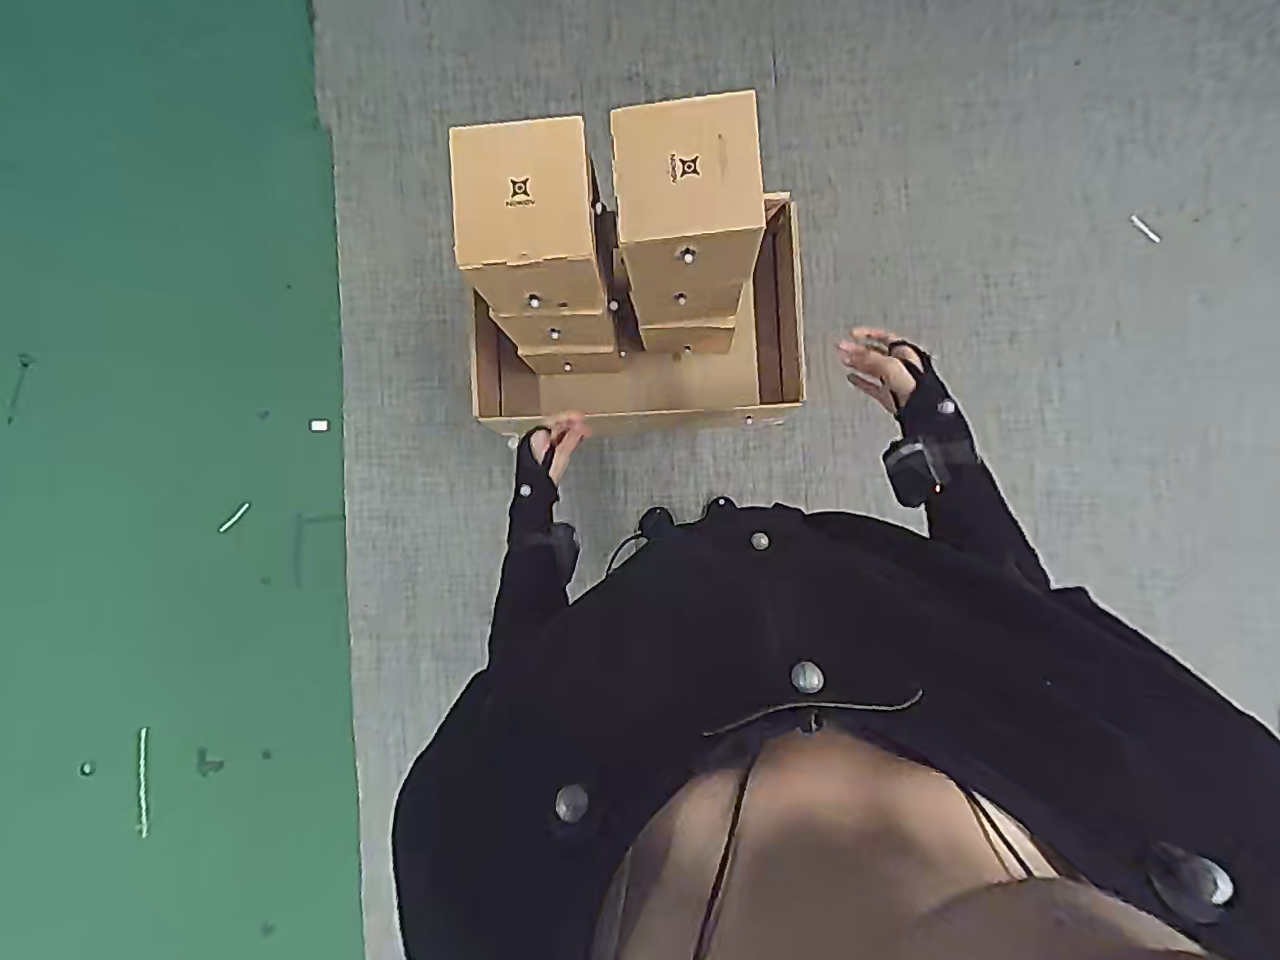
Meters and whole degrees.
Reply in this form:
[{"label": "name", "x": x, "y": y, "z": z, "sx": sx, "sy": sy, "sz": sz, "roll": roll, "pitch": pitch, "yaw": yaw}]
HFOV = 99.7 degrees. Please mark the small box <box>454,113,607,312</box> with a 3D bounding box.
[{"label": "small box", "x": -0.137, "y": -0.345, "z": 0.724, "sx": 0.168, "sy": 0.176, "sz": 0.179, "roll": -4, "pitch": 88, "yaw": 3}]
